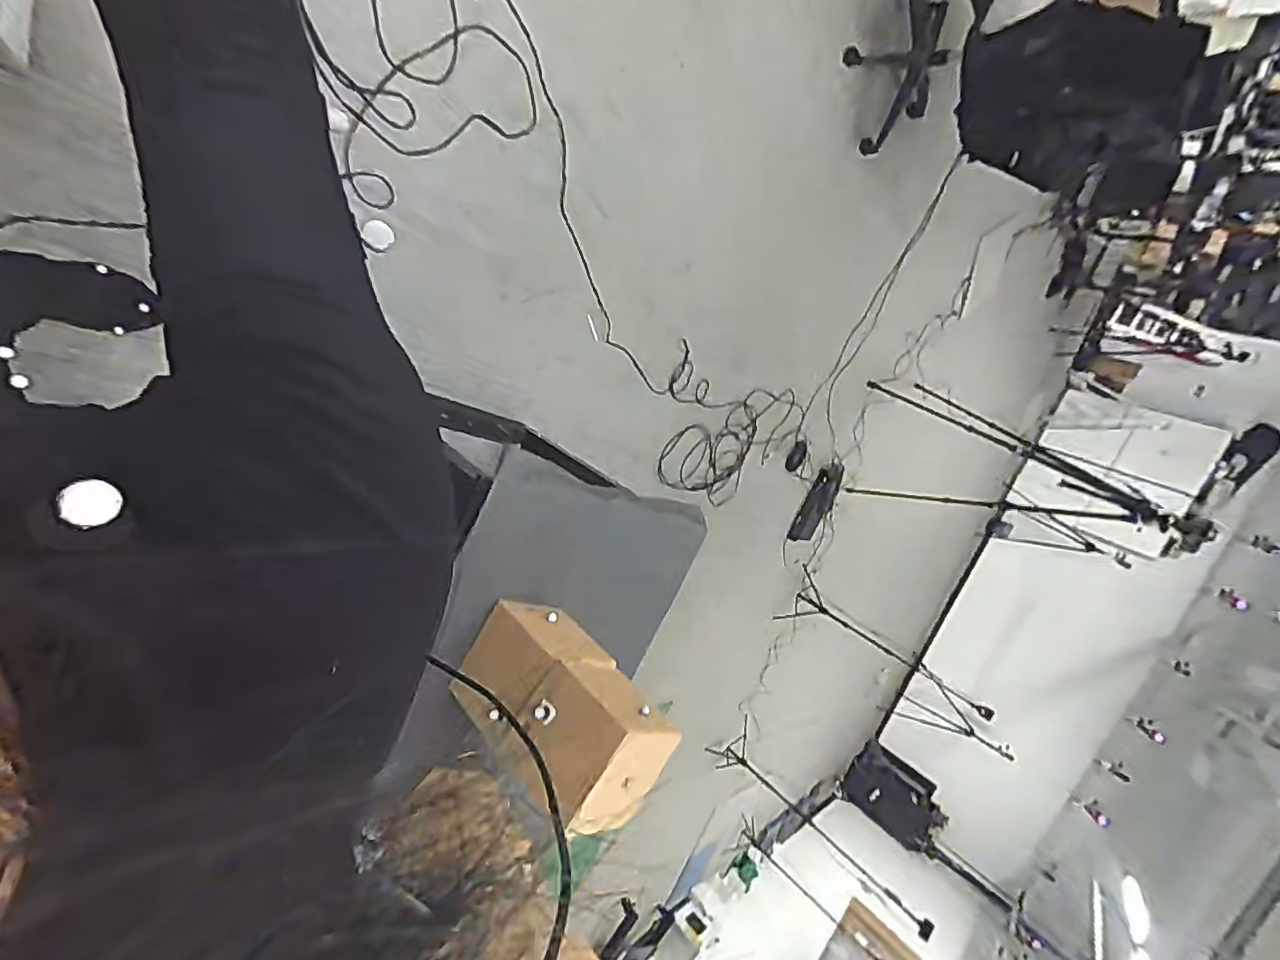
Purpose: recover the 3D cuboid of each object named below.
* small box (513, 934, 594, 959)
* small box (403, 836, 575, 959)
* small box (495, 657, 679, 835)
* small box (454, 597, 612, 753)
[{"bbox_3d":[-0.129,0.770,0.743,0.179,0.176,0.168,-46,141,-15],"label":"small box"},{"bbox_3d":[-0.240,0.706,0.843,0.179,0.176,0.168,-45,140,-17],"label":"small box"},{"bbox_3d":[-0.079,0.389,0.815,0.168,0.176,0.179,-57,141,-4],"label":"small box"},{"bbox_3d":[-0.188,0.326,0.918,0.168,0.176,0.179,29,91,-53],"label":"small box"}]
